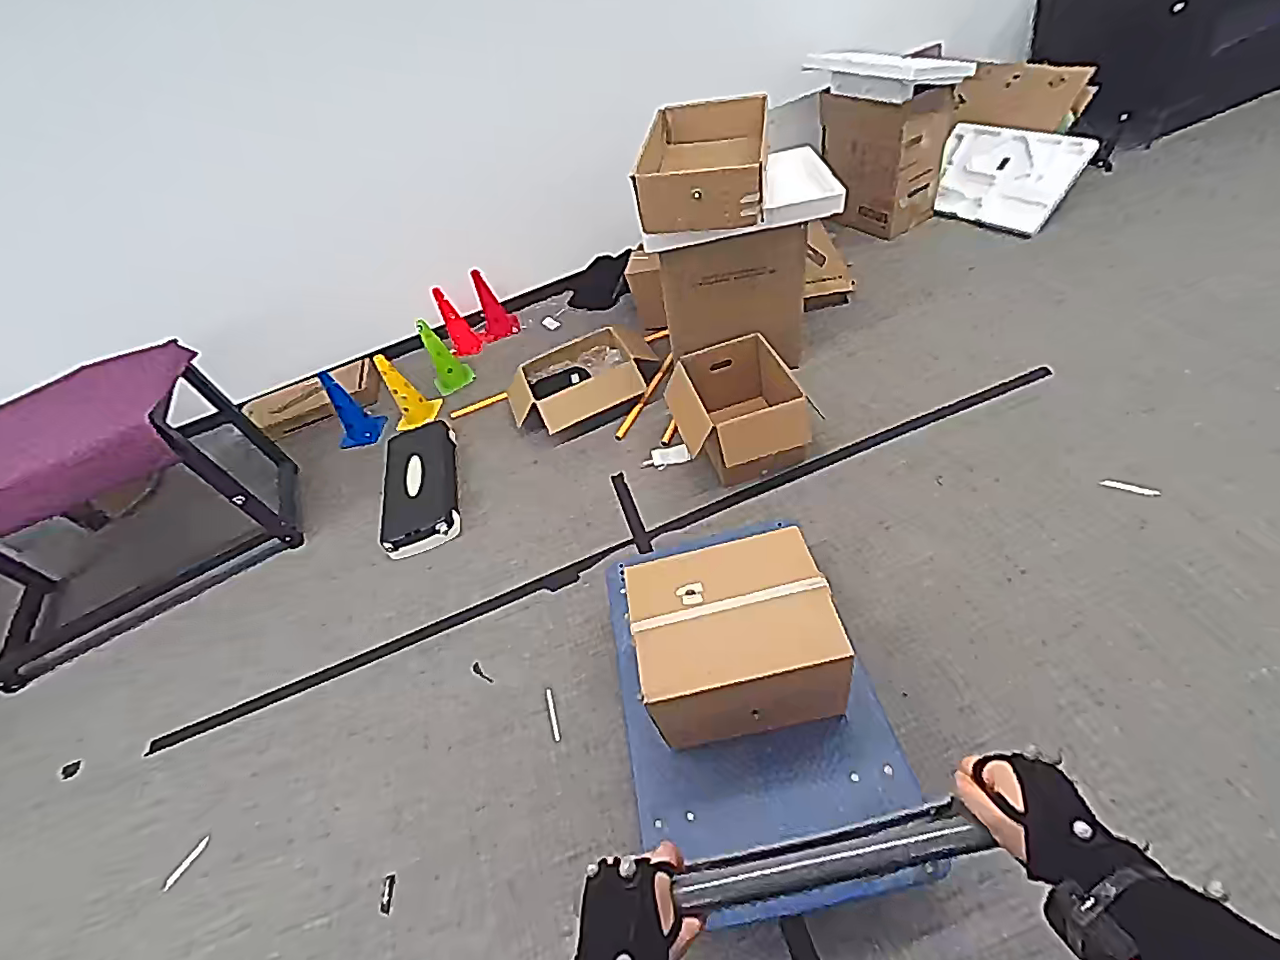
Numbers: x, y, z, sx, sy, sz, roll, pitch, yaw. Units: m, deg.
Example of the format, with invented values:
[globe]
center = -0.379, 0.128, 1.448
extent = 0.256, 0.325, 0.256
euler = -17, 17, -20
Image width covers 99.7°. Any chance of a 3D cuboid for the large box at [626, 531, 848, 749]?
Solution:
[large box]
center = 0.215, 0.372, 1.236
extent = 0.408, 0.320, 0.320
euler = -16, 45, 4
